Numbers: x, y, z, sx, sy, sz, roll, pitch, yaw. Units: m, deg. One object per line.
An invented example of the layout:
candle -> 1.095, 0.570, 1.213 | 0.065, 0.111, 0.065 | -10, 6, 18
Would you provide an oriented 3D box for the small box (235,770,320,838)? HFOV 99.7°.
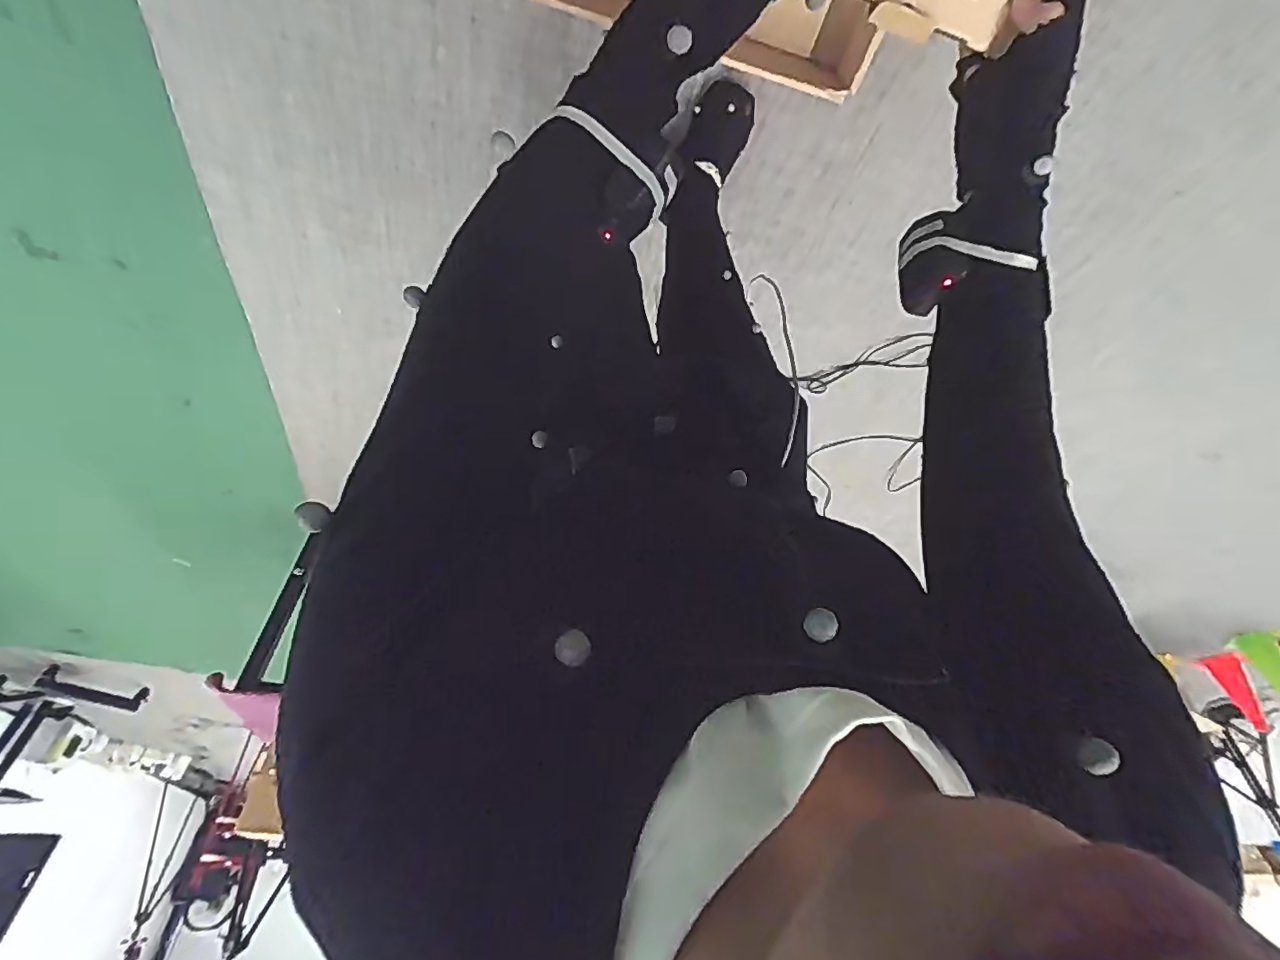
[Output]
small box -> -1.195, 1.076, 1.797 | 0.168, 0.176, 0.179 | 11, 140, -10
